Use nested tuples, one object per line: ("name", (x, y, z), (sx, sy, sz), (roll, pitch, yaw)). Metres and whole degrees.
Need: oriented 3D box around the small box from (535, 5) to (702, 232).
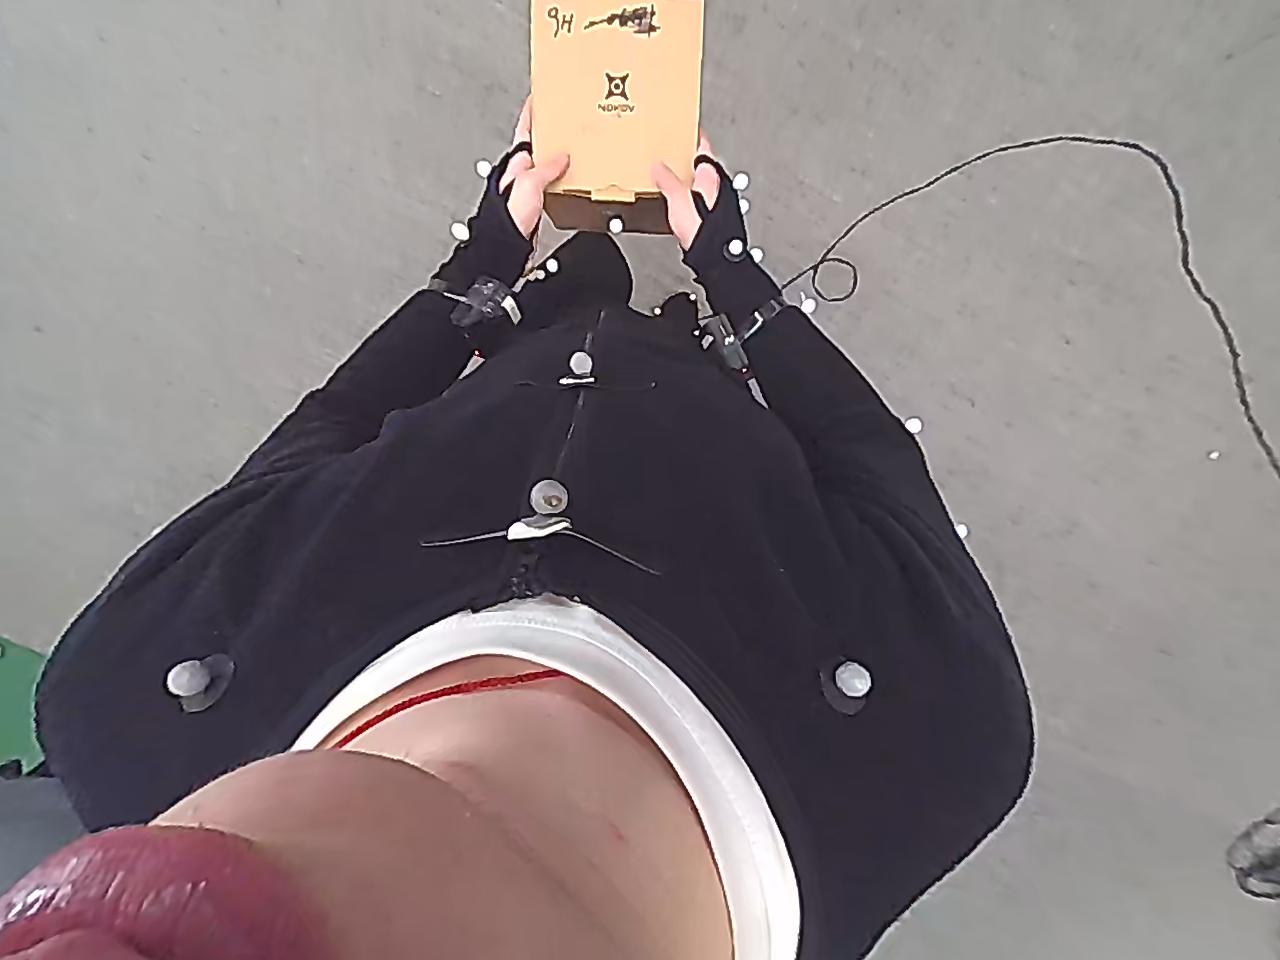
("small box", (-0.020, -0.391, 0.619), (0.168, 0.176, 0.179), (-1, 103, 0))
